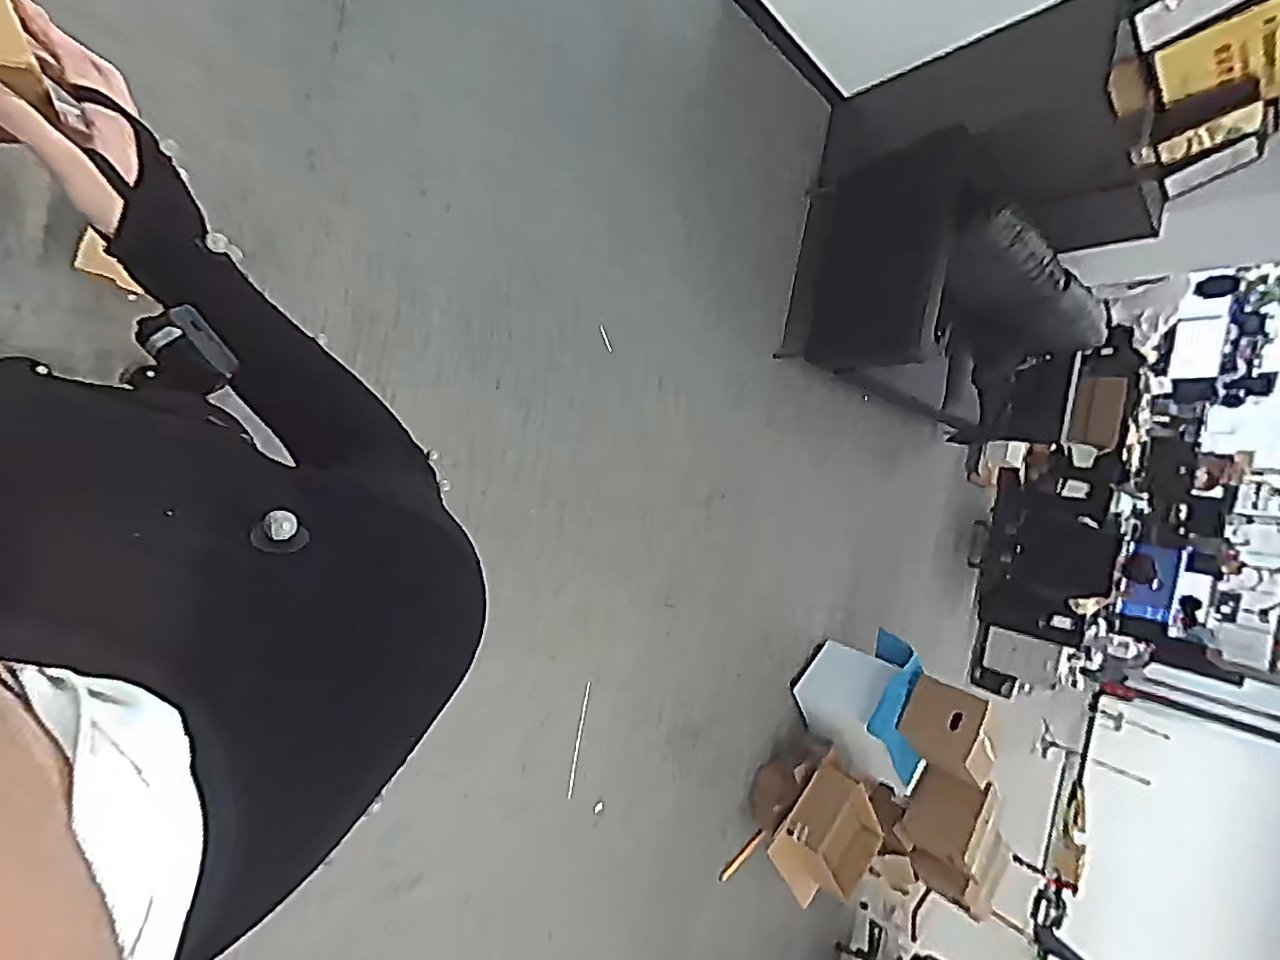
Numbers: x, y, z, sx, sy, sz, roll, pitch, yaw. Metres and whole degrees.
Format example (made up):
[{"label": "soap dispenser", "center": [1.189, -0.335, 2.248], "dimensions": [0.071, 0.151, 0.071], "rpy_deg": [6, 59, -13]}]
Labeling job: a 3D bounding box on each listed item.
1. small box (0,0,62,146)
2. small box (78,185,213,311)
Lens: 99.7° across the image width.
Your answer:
[{"label": "small box", "center": [-0.524, -0.331, 0.345], "dimensions": [0.179, 0.176, 0.168], "rpy_deg": [-21, 112, -34]}, {"label": "small box", "center": [-1.028, -0.473, 1.138], "dimensions": [0.168, 0.176, 0.179], "rpy_deg": [20, 85, -41]}]
